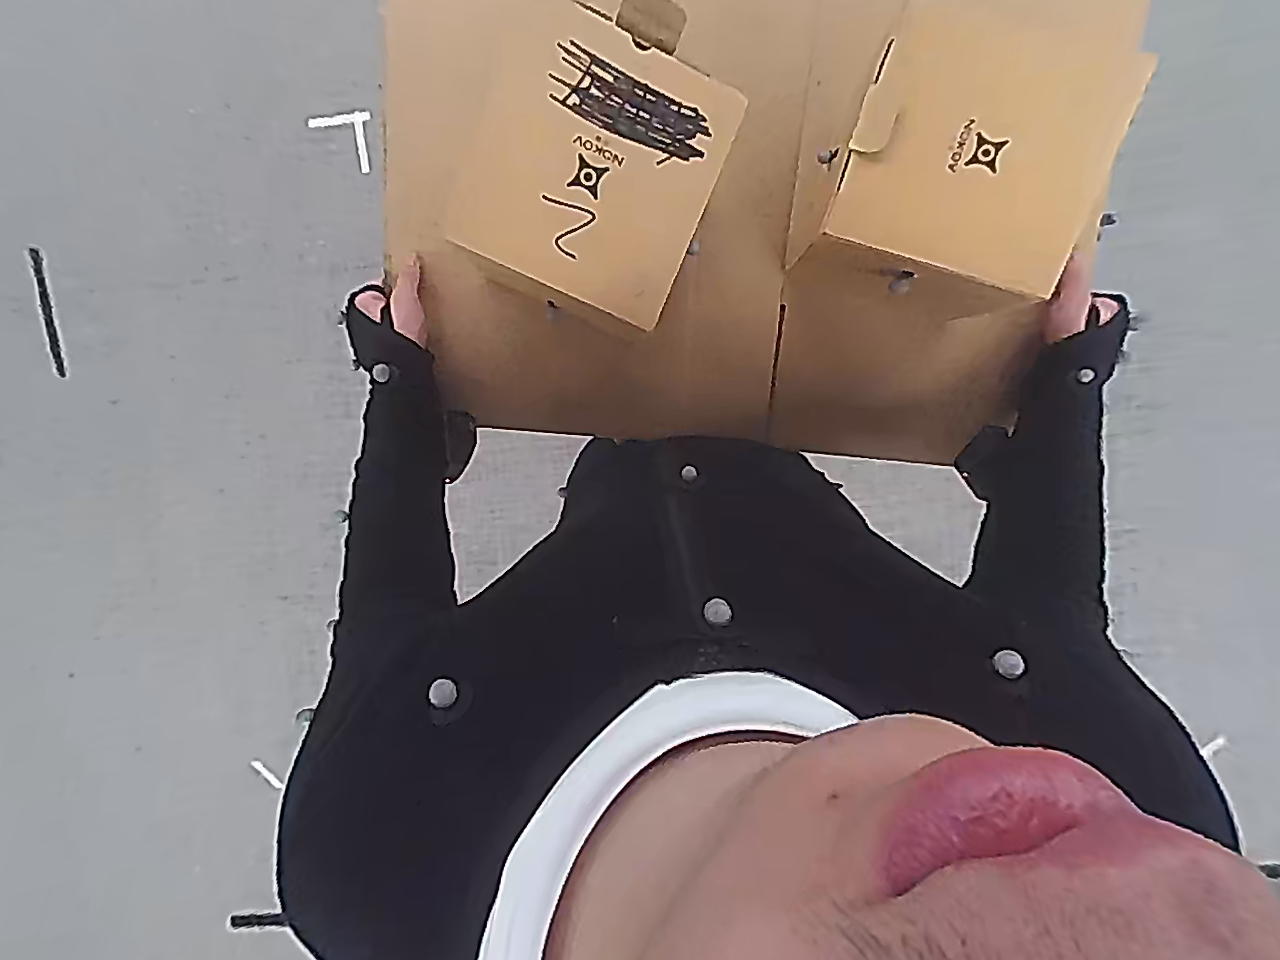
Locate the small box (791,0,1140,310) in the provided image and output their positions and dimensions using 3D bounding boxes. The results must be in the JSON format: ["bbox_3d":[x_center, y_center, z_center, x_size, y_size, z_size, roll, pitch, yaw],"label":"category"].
[{"bbox_3d":[0.252,-0.256,0.474,0.179,0.176,0.168,18,103,4],"label":"small box"}]
